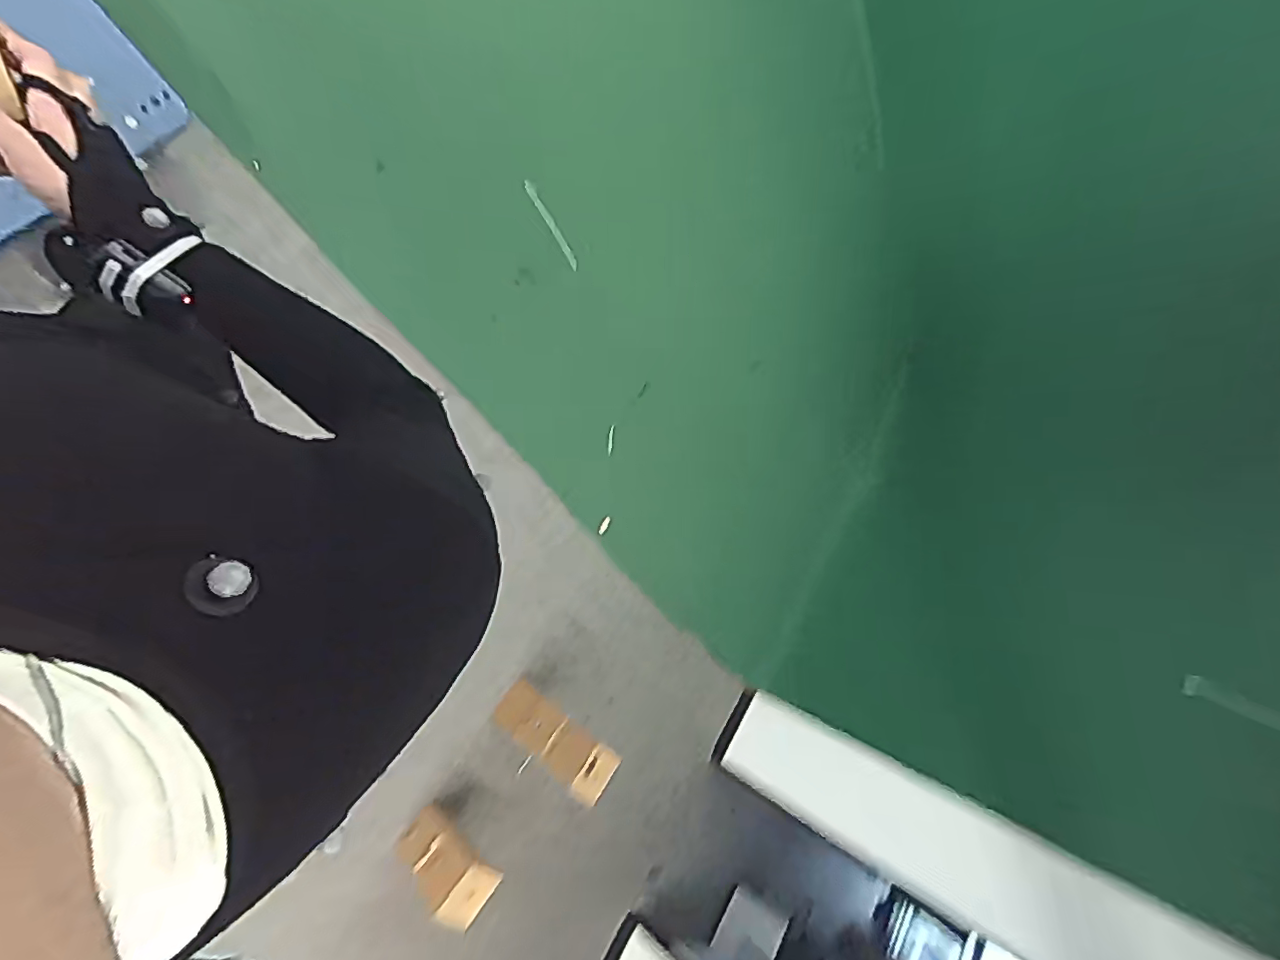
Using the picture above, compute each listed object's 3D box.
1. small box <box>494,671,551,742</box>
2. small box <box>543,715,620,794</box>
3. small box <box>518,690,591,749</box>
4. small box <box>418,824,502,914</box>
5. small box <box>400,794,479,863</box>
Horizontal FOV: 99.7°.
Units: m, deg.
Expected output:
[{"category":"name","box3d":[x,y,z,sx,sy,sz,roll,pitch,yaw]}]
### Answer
[{"category":"small box","box3d":[-0.437,0.886,2.123,0.179,0.176,0.168,-50,131,-23]},{"category":"small box","box3d":[-0.208,0.956,1.899,0.168,0.176,0.179,-52,133,-22]},{"category":"small box","box3d":[-0.321,0.912,2.011,0.168,0.176,0.179,-51,130,-23]},{"category":"small box","box3d":[-0.609,1.310,1.829,0.168,0.176,0.179,-50,131,-23]},{"category":"small box","box3d":[-0.719,1.271,1.939,0.168,0.176,0.179,-47,129,-29]}]
